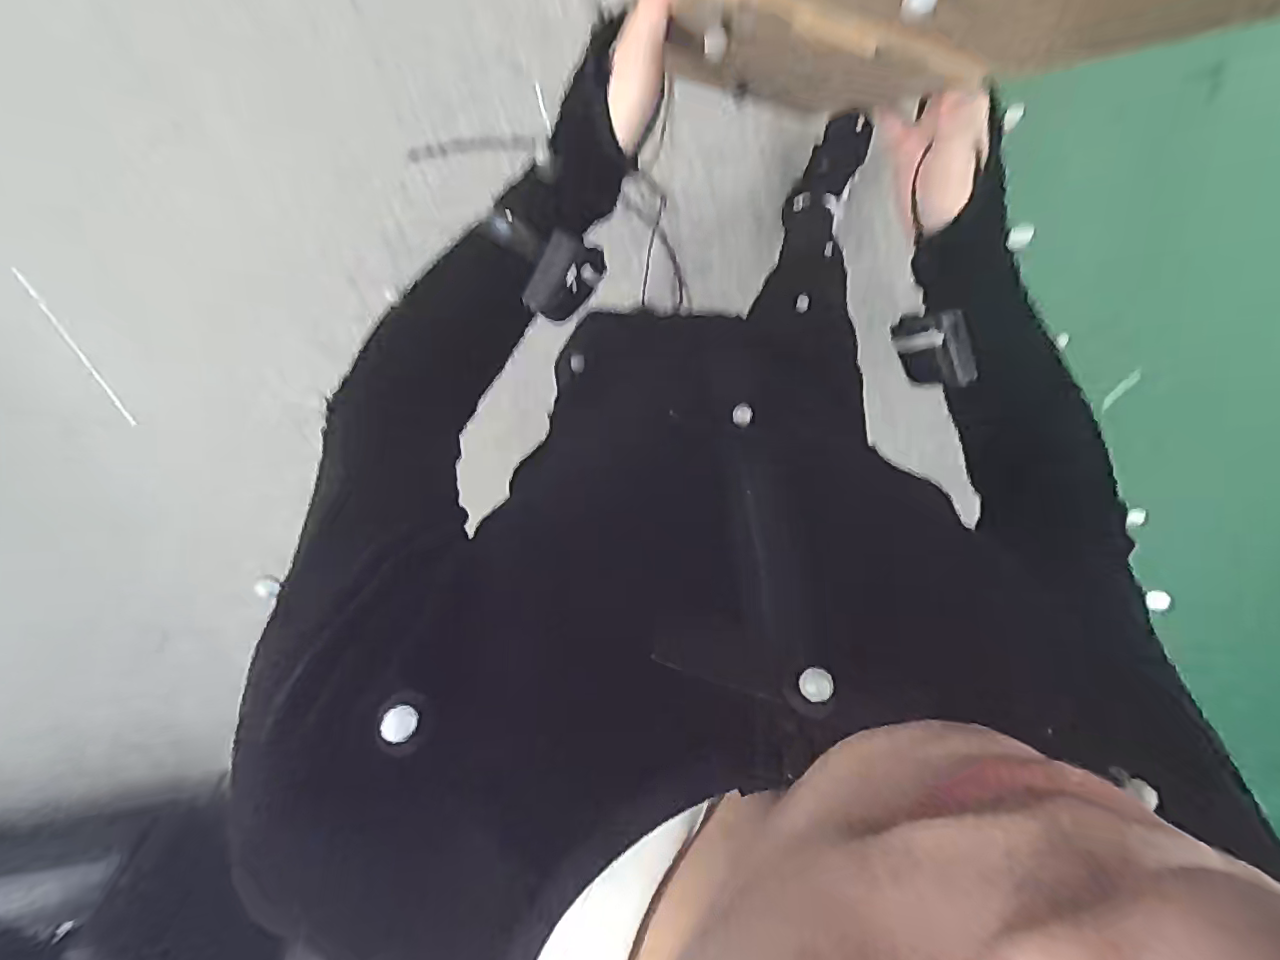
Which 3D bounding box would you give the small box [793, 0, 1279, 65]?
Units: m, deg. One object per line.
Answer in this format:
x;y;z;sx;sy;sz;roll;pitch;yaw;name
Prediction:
0.118;-0.240;0.144;0.179;0.176;0.168;14;119;-8;small box

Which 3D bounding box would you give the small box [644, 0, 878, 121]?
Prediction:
0.105;-0.409;0.427;0.168;0.176;0.179;14;118;-9;small box
